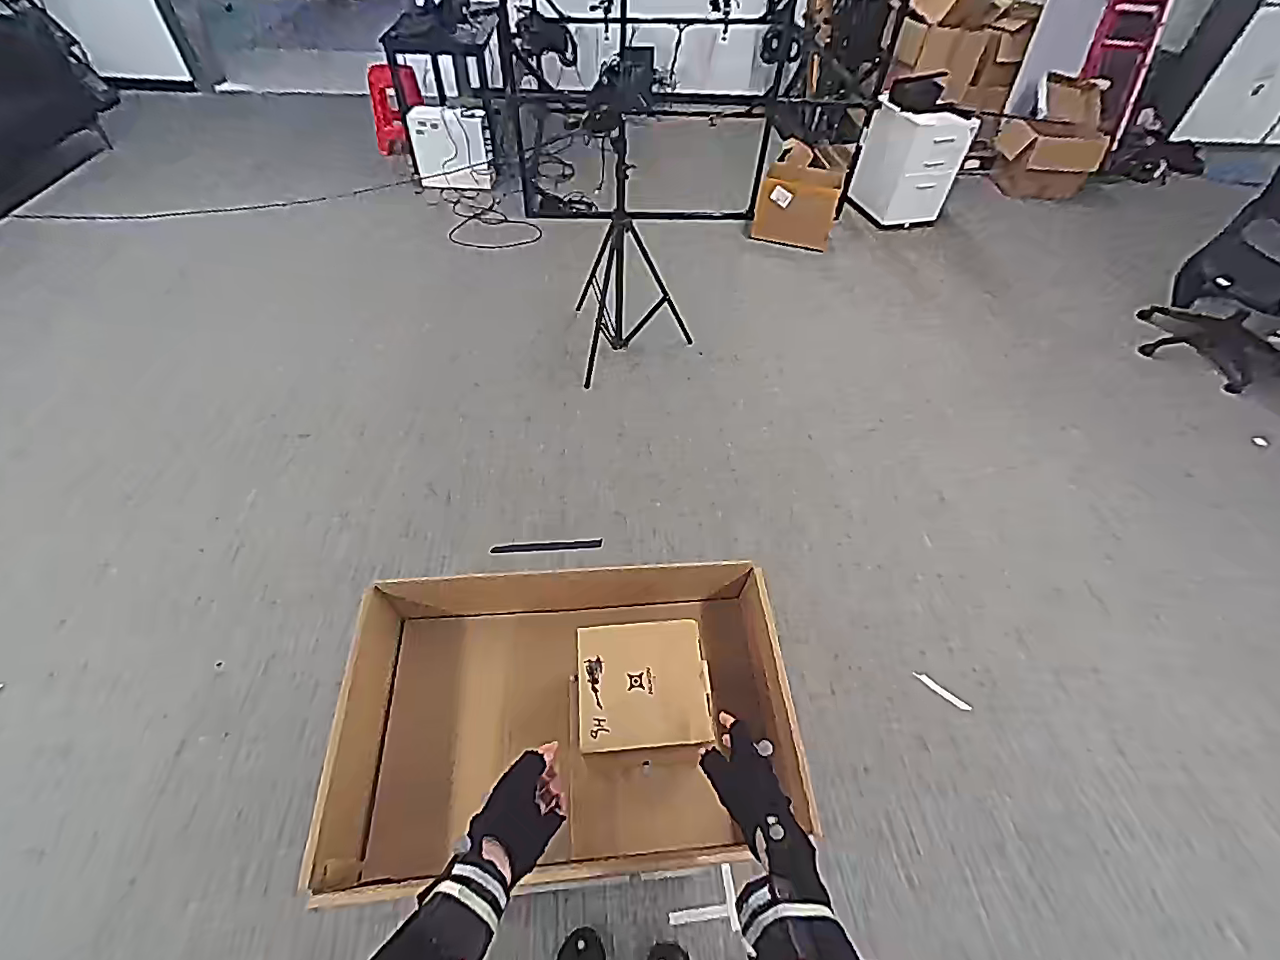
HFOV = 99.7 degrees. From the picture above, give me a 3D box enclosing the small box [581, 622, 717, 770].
[{"bbox_3d":[0.004,0.321,0.797,0.179,0.176,0.168,-3,54,-4],"label":"small box"}]
